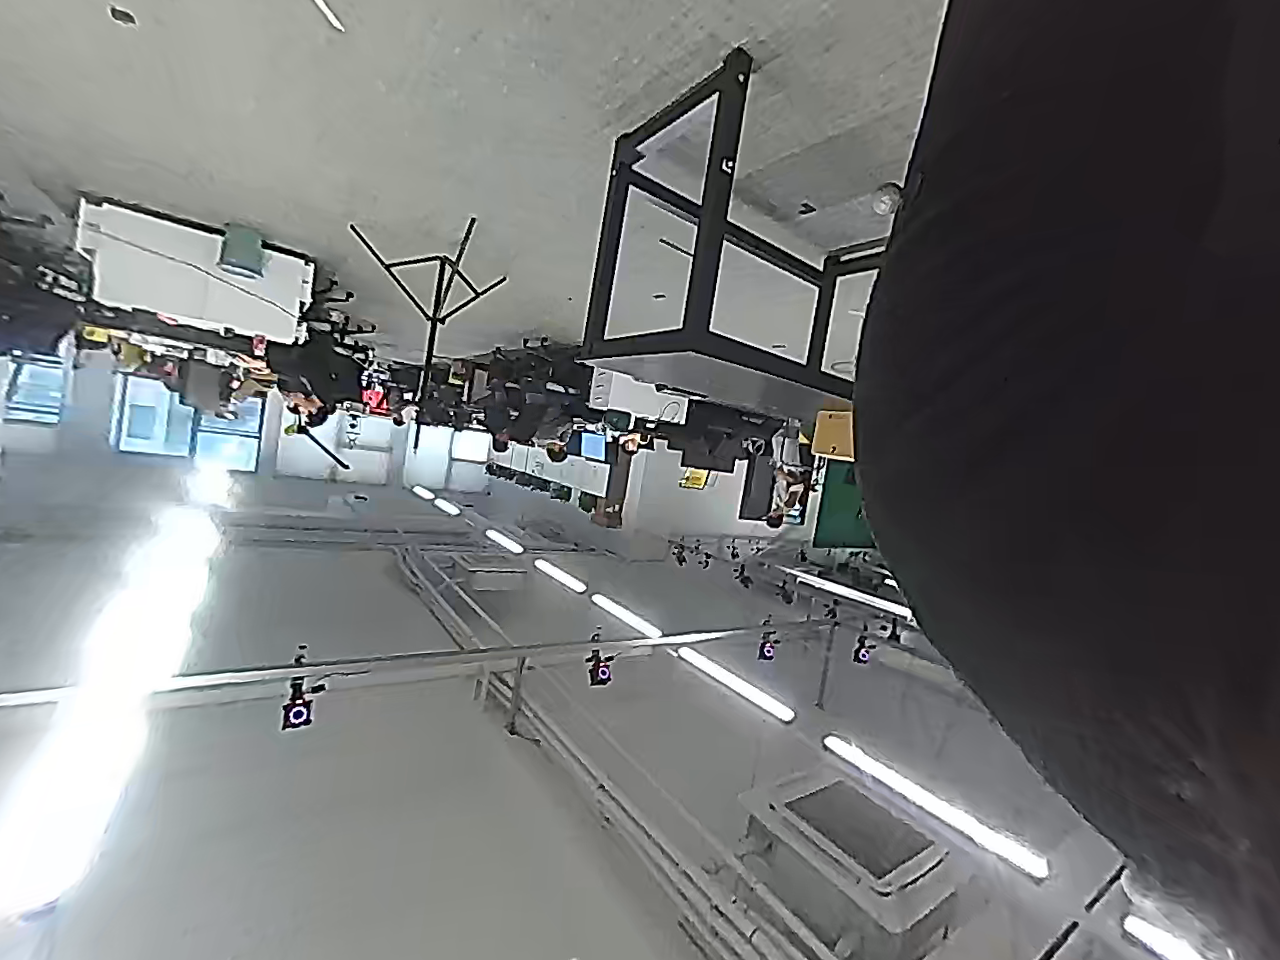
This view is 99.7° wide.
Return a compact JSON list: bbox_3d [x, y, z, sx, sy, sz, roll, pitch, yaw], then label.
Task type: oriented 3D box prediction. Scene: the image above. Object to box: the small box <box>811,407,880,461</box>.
[{"bbox_3d":[0.775,-0.174,2.032,0.179,0.176,0.168,7,-176,-34],"label":"small box"}]
